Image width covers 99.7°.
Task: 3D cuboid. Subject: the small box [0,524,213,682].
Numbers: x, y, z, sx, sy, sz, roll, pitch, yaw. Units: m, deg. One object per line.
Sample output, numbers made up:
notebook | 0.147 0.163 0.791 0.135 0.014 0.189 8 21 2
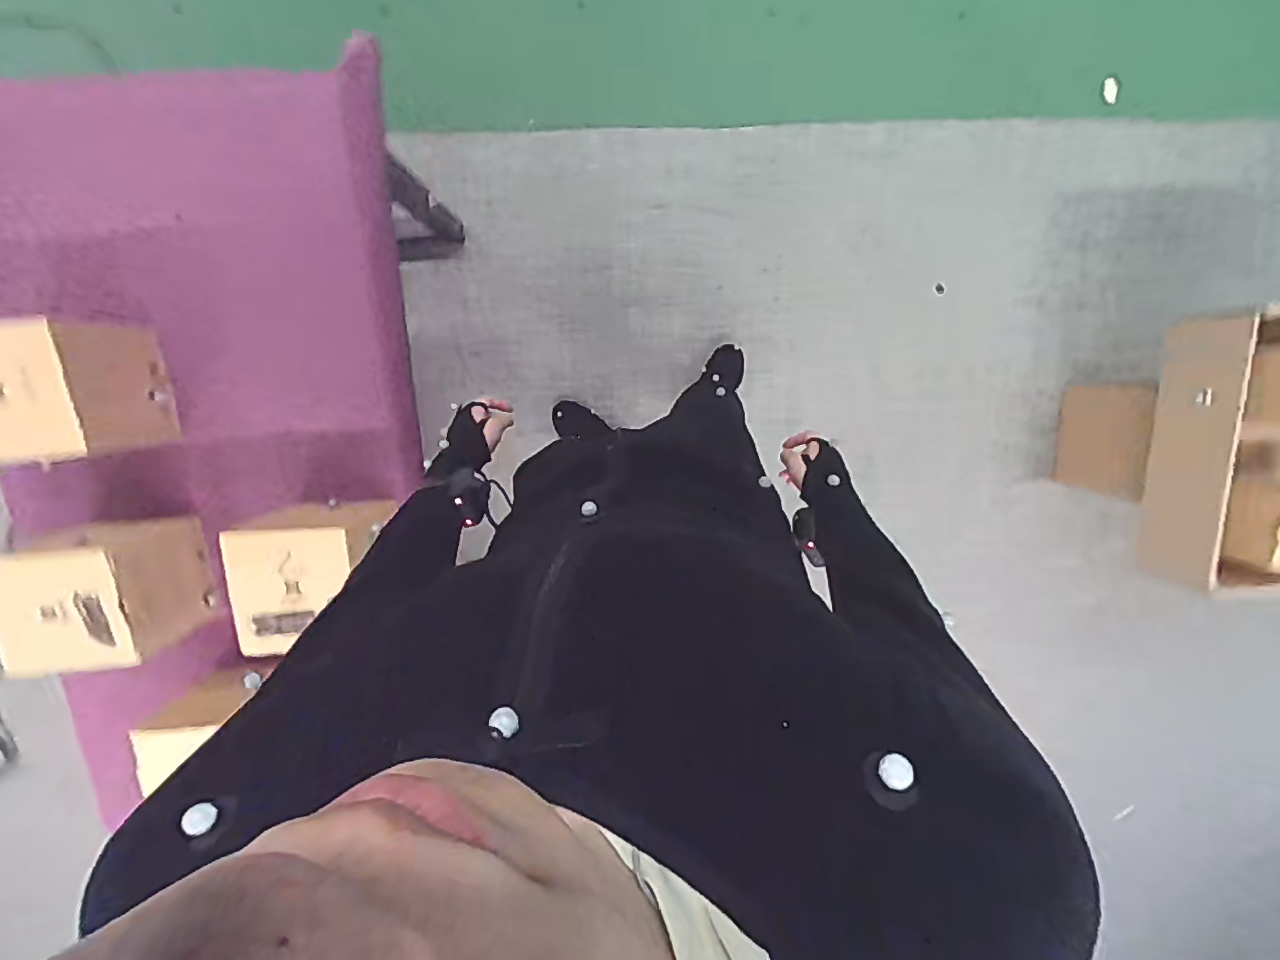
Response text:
small box | -0.770 0.168 0.787 0.179 0.176 0.168 -5 101 -2

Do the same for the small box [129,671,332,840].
small box | -0.619 0.417 0.841 0.179 0.176 0.168 -4 102 -2

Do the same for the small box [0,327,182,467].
small box | -0.789 -0.111 0.735 0.179 0.176 0.168 -6 102 -3
